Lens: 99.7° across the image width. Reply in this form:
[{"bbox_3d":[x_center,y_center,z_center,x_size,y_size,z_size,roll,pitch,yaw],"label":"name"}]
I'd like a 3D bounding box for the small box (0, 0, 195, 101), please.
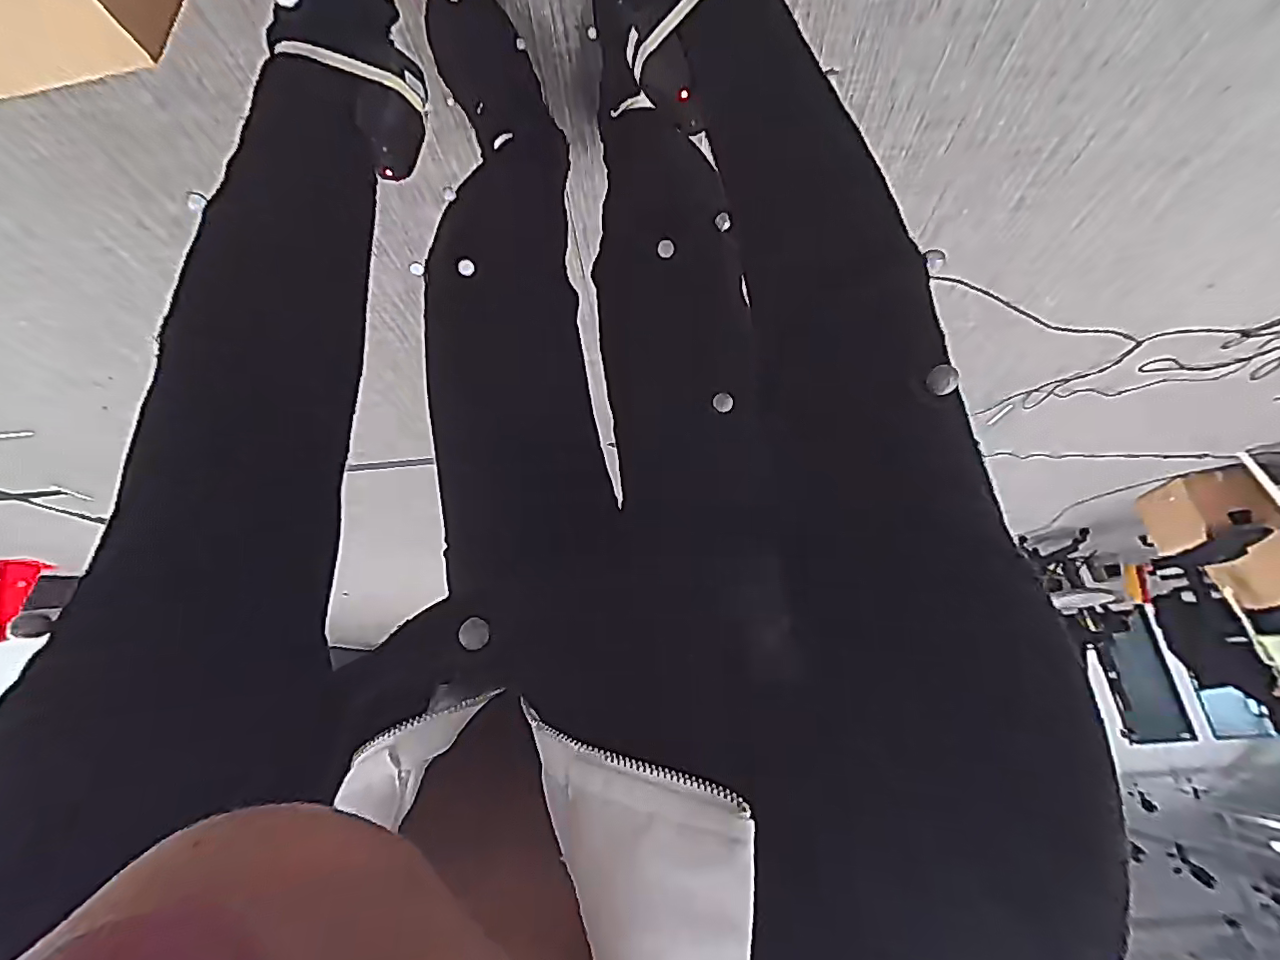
[{"bbox_3d":[-0.354,-0.324,0.255,0.168,0.176,0.179,-7,159,6],"label":"small box"}]
